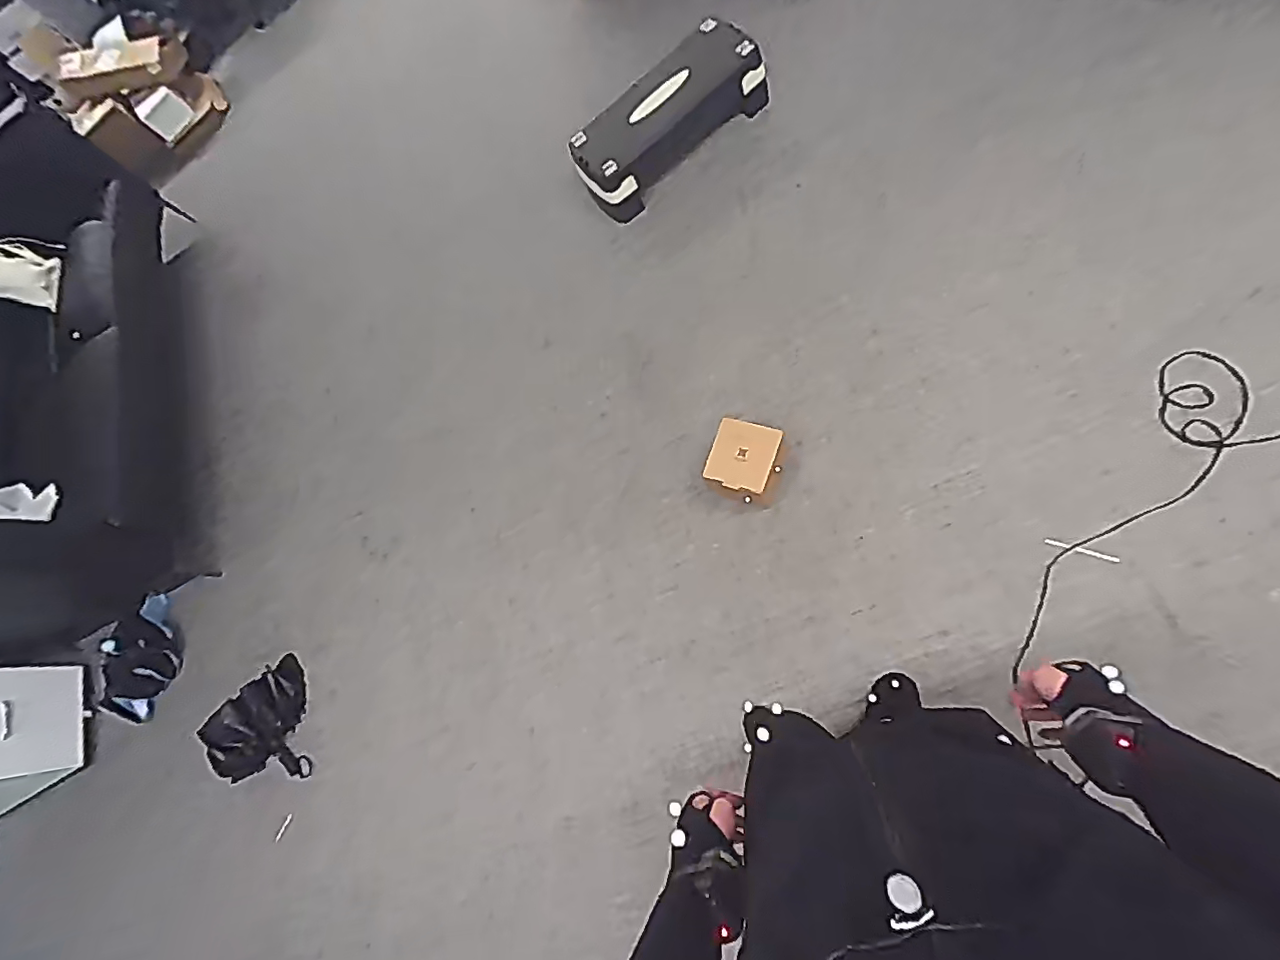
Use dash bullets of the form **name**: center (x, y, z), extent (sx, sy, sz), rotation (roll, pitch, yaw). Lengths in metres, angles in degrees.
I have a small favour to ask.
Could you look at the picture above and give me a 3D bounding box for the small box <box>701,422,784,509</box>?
- **small box**: center (0.286, -0.034, 1.475), extent (0.168, 0.176, 0.179), rotation (17, 79, 23)
